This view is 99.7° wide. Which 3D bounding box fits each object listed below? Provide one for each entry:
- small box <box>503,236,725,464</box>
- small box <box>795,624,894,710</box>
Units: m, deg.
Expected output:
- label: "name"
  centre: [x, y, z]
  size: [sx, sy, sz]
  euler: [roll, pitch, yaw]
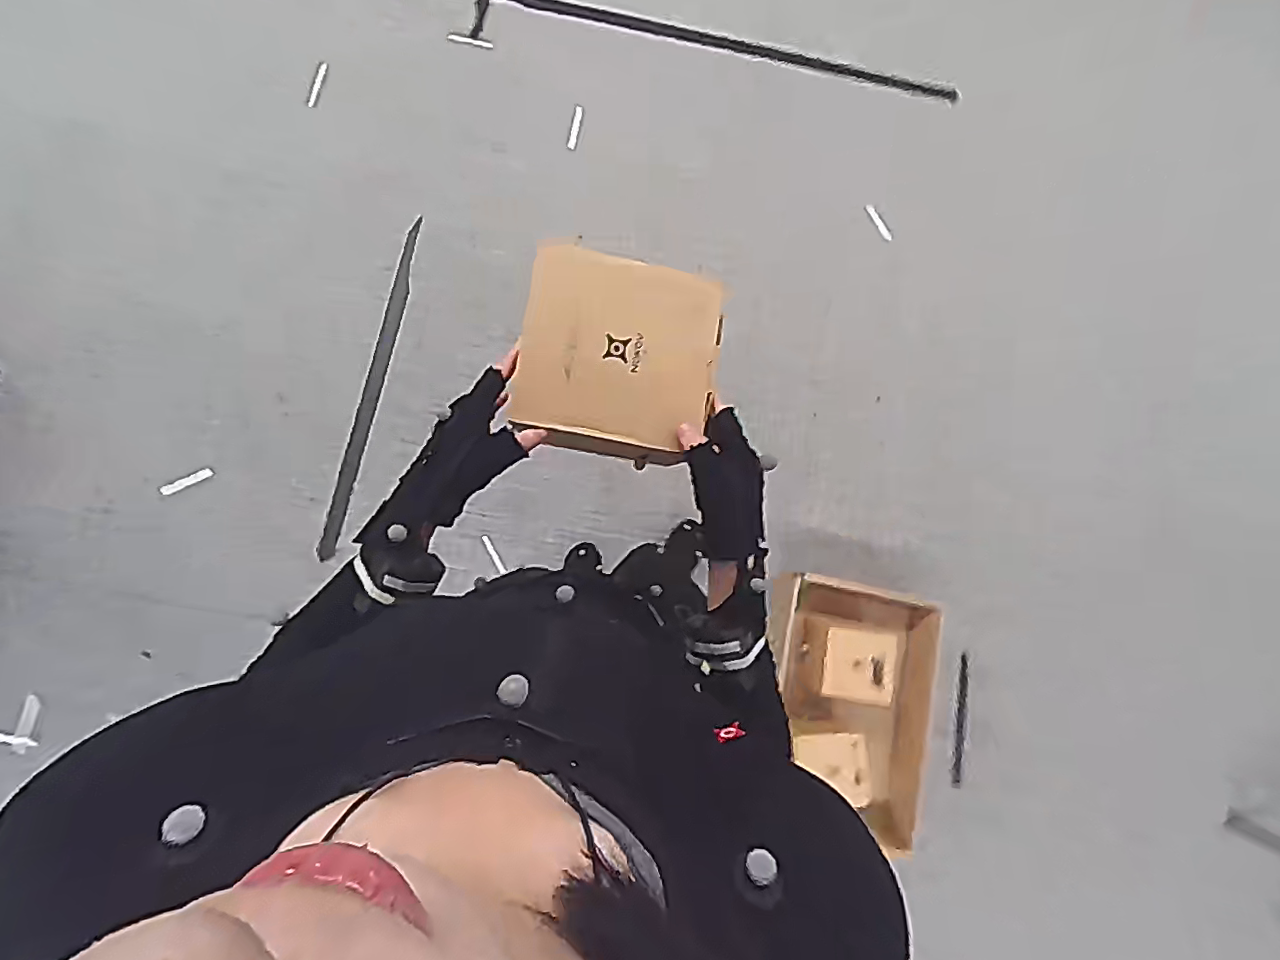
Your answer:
- label: "small box"
  centre: [-0.030, -0.113, 0.548]
  size: [0.179, 0.176, 0.168]
  euler: [8, 84, -7]
- label: "small box"
  centre: [0.525, 0.476, 1.401]
  size: [0.179, 0.176, 0.168]
  euler: [10, 82, -3]
